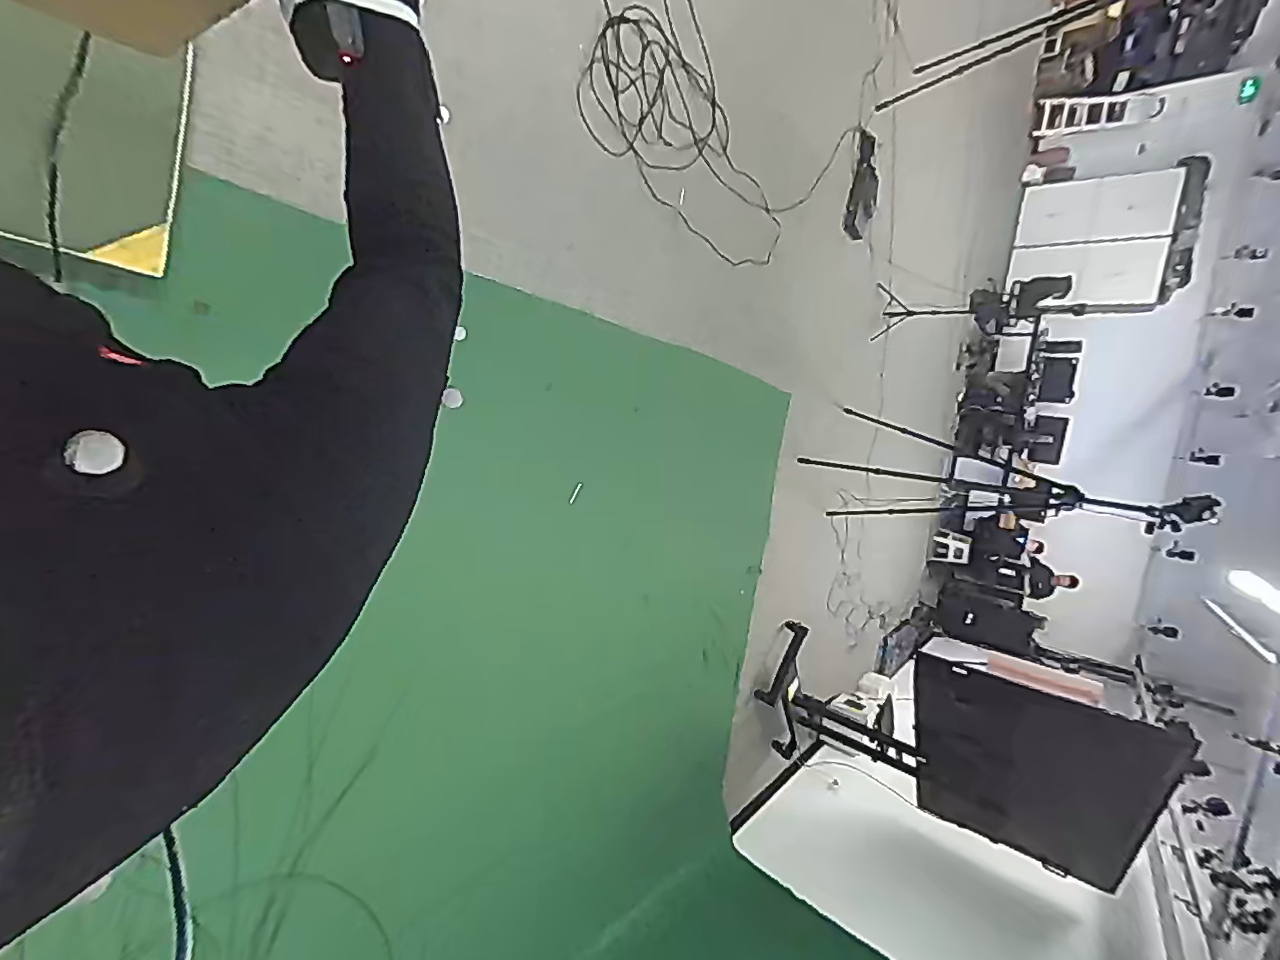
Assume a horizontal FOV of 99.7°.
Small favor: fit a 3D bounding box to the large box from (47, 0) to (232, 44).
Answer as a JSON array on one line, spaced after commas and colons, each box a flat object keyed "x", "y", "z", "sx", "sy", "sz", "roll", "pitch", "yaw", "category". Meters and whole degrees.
[{"x": -0.456, "y": -0.506, "z": 0.259, "sx": 0.408, "sy": 0.320, "sz": 0.320, "roll": -9, "pitch": 115, "yaw": -51, "category": "large box"}]
